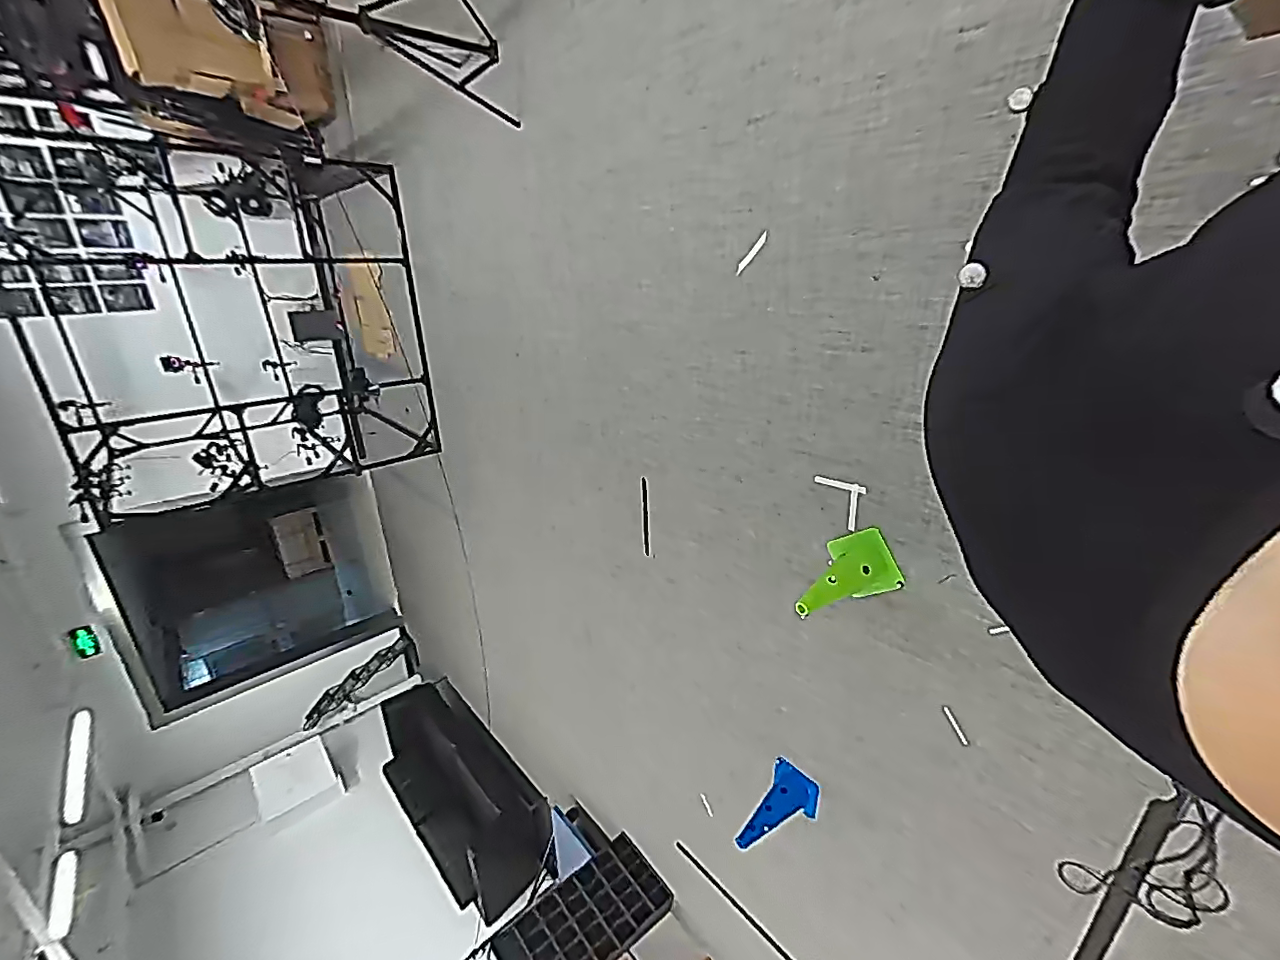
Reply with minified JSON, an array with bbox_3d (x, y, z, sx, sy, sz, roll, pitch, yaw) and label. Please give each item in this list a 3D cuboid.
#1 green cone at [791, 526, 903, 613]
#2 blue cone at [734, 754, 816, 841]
[{"bbox_3d":[0.575,0.299,1.604,0.202,0.368,0.200,-36,76,53],"label":"green cone"},{"bbox_3d":[0.514,1.296,2.136,0.192,0.380,0.193,26,124,44],"label":"blue cone"}]
